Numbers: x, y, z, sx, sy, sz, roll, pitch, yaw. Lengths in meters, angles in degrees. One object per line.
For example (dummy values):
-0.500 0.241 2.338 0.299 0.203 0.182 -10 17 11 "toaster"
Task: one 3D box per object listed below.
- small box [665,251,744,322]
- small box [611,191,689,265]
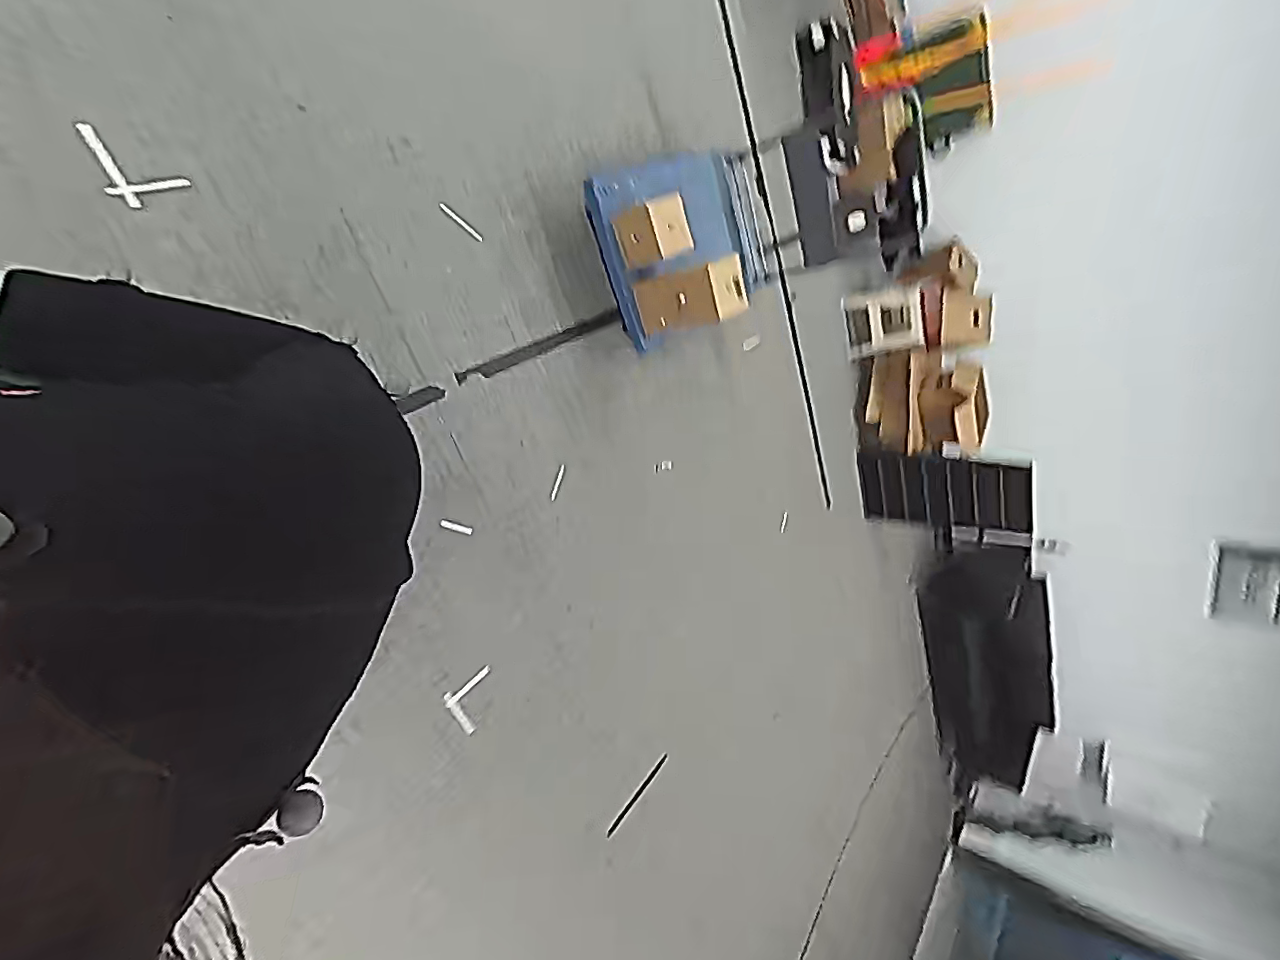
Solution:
0.208 -0.620 1.740 0.179 0.176 0.168 -36 118 -38 "small box"
0.026 -0.823 1.774 0.179 0.176 0.168 -40 121 -37 "small box"
